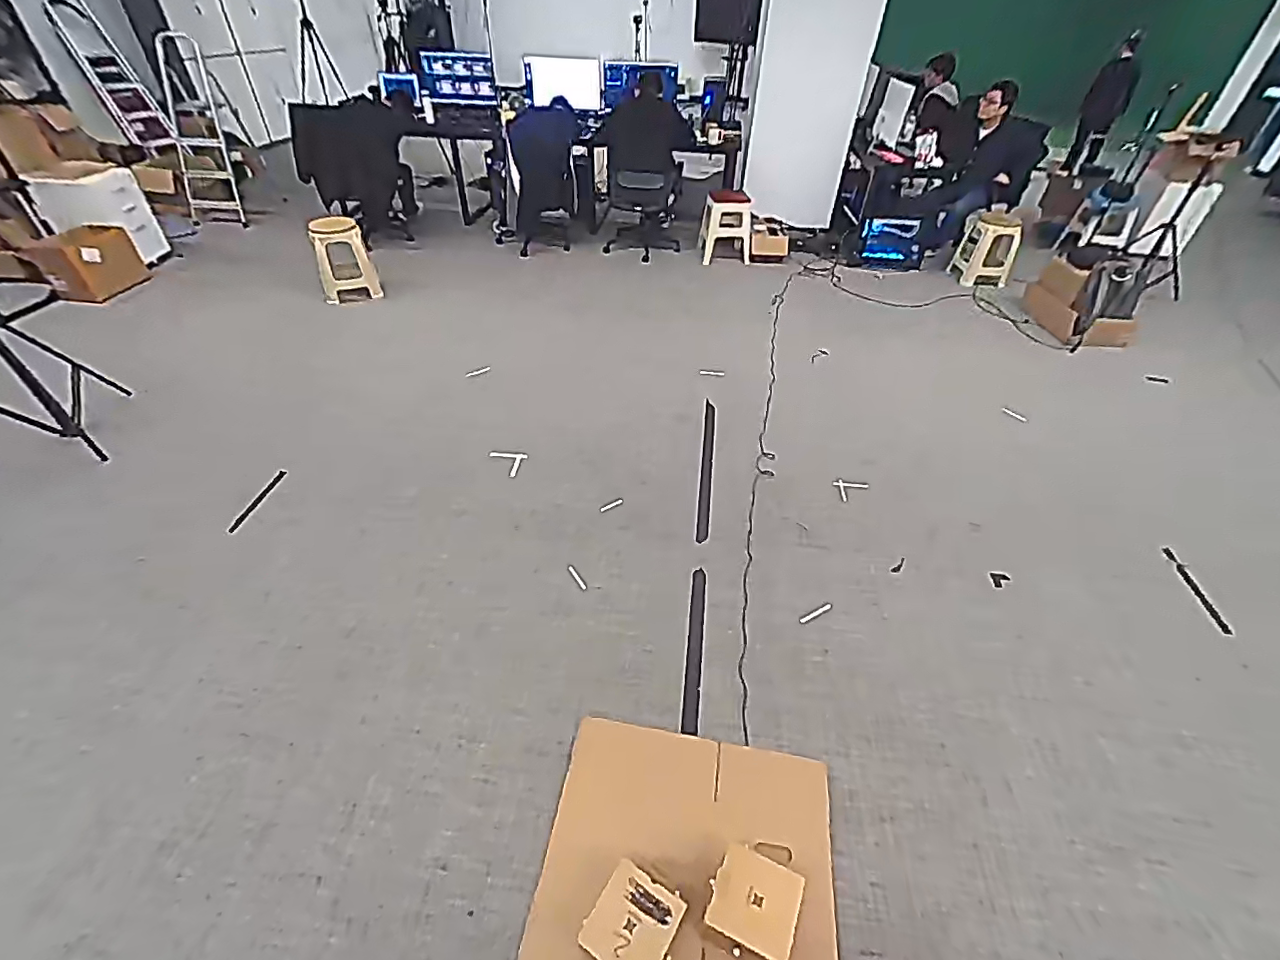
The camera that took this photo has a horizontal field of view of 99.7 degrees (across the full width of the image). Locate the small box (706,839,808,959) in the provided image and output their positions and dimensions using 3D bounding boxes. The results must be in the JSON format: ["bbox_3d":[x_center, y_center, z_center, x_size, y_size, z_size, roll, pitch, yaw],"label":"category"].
[{"bbox_3d":[0.257,0.949,1.207,0.179,0.176,0.168,16,46,20],"label":"small box"}]
